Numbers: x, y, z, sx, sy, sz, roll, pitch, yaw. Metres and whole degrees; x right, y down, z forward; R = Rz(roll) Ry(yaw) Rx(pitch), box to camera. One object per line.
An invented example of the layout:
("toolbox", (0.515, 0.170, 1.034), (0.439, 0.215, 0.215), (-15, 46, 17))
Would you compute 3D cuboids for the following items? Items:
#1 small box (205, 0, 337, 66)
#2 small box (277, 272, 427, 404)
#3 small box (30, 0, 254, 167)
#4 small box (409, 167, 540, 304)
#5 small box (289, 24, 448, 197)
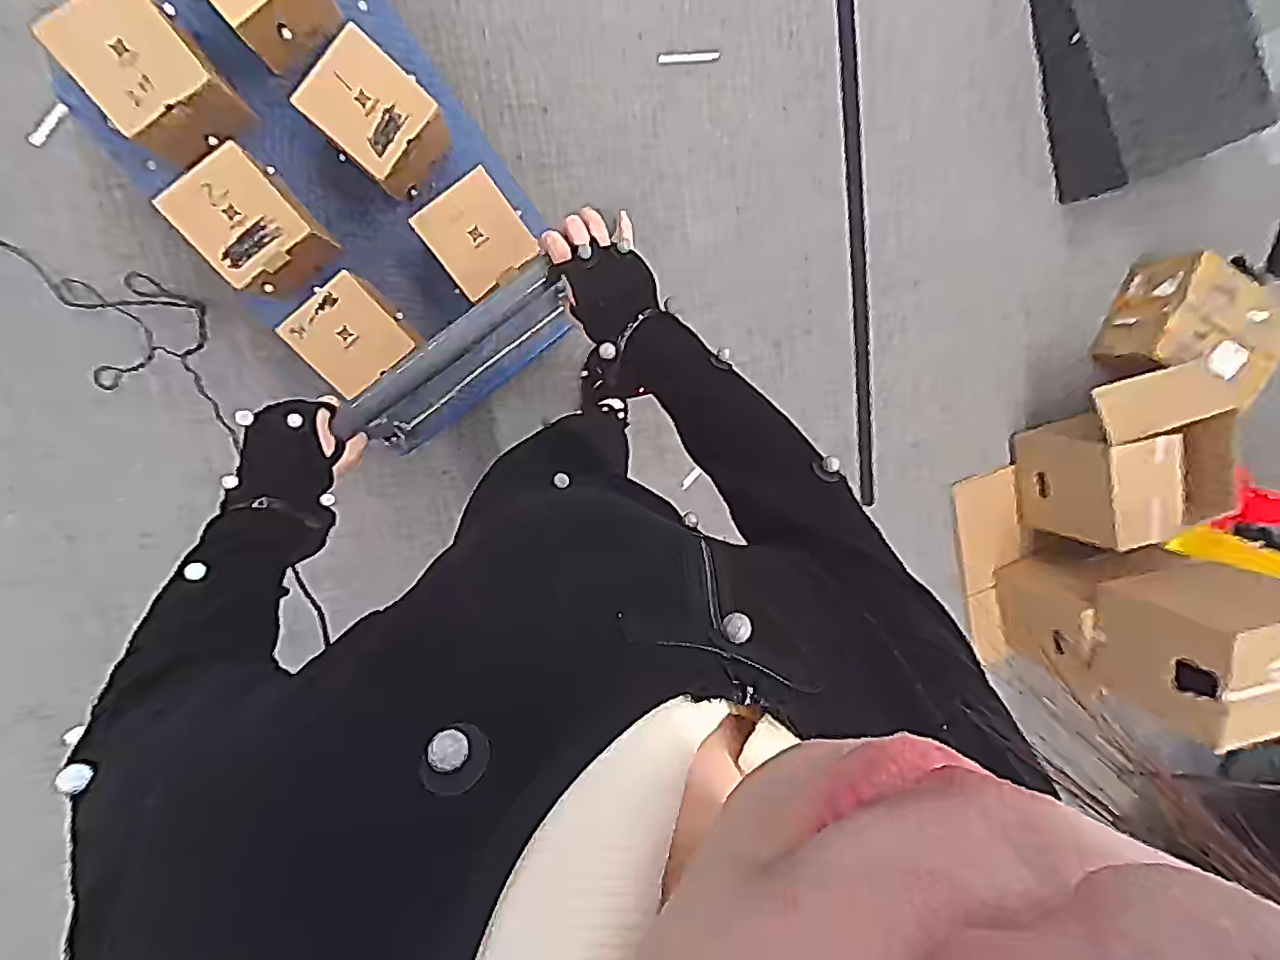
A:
("small box", (-0.649, -0.841, 0.899), (0.168, 0.176, 0.179), (-41, 108, 0))
("small box", (-0.543, -0.273, 1.052), (0.168, 0.176, 0.179), (-42, 108, -1))
("small box", (-0.808, -0.668, 0.903), (0.168, 0.176, 0.179), (-37, 108, -2))
("small box", (-0.313, -0.463, 1.060), (0.168, 0.176, 0.179), (-38, 107, -2))
("small box", (-0.475, -0.647, 0.981), (0.179, 0.176, 0.168), (39, 92, -17))
